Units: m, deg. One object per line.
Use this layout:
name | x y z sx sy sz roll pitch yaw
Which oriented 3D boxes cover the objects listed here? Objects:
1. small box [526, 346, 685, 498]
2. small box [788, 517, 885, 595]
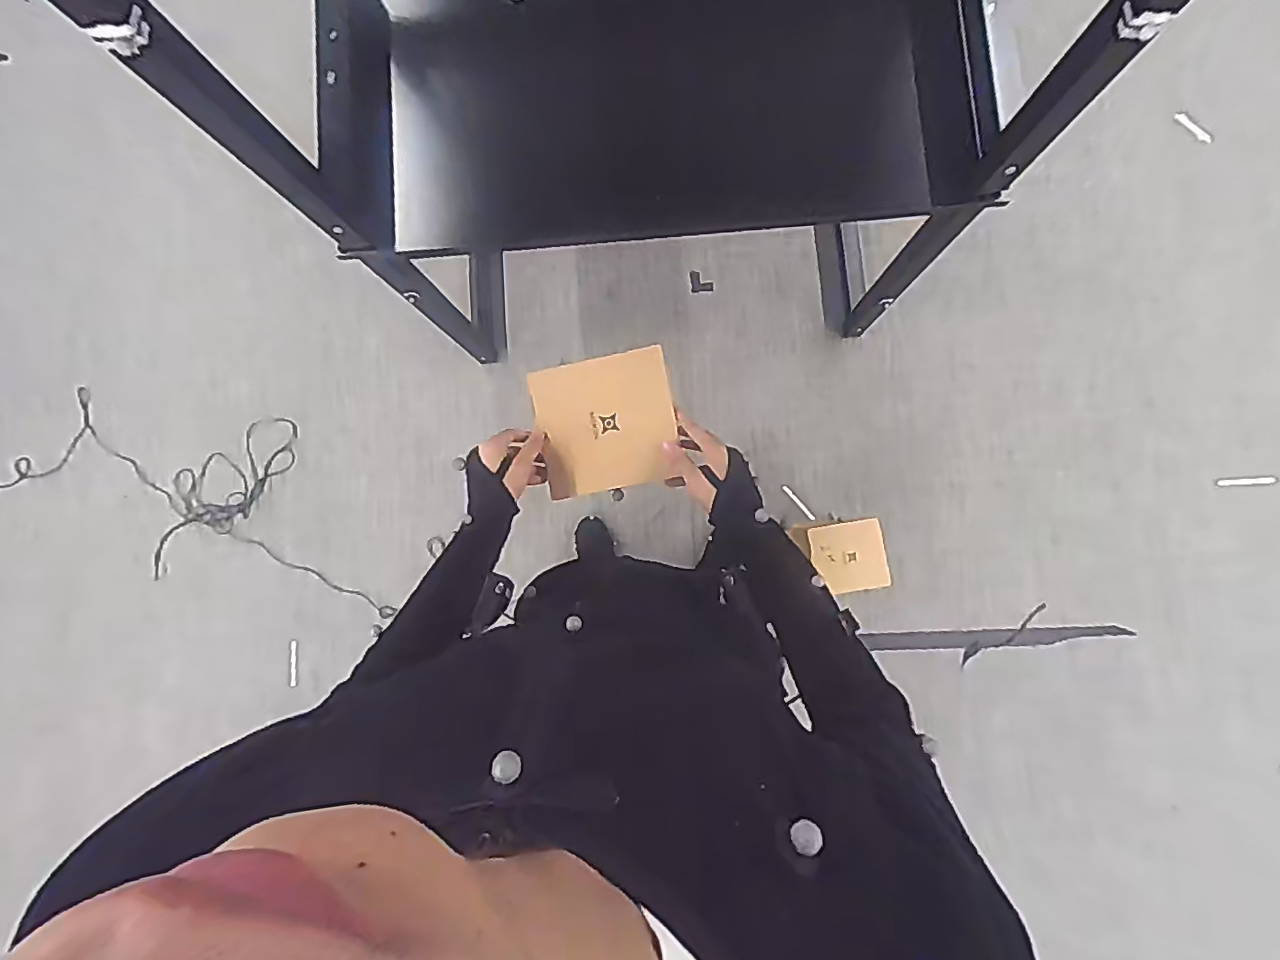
small box | -0.037 -0.075 0.747 0.179 0.176 0.168 -11 92 7
small box | 0.491 0.187 1.373 0.179 0.176 0.168 -9 86 3
